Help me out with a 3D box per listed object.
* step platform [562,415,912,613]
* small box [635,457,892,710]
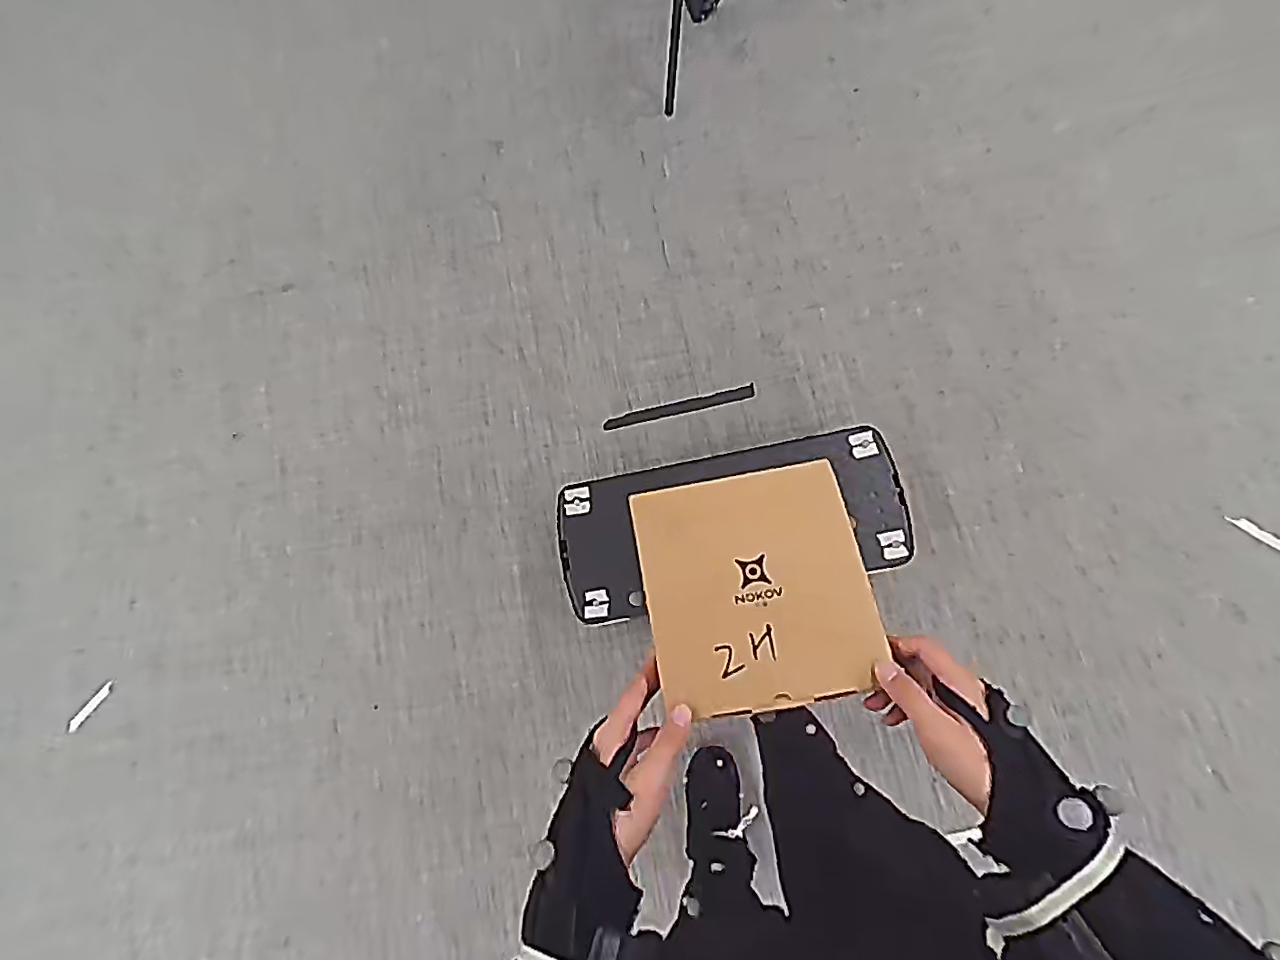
[{"bbox_3d":[0.184,0.076,1.123,0.684,0.204,0.286,-12,77,3],"label":"step platform"},{"bbox_3d":[0.093,0.101,0.489,0.168,0.176,0.179,-11,69,2],"label":"small box"}]
